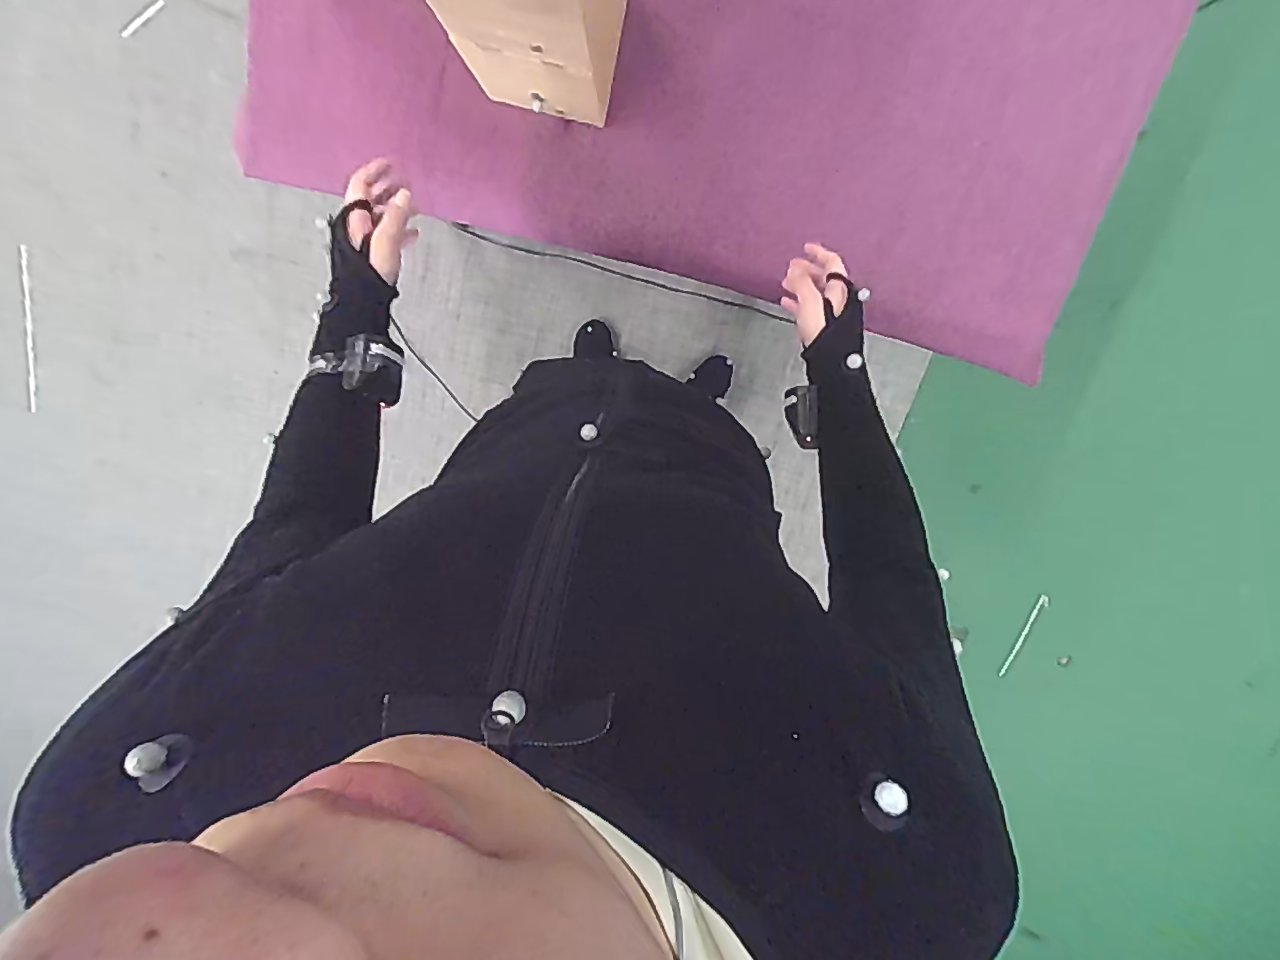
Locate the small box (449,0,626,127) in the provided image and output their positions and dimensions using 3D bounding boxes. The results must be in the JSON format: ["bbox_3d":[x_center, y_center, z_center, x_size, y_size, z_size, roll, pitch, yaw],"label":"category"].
[{"bbox_3d":[-0.112,-0.569,0.654,0.168,0.176,0.179,13,106,-3],"label":"small box"}]

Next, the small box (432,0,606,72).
[{"bbox_3d":[-0.113,-0.527,0.495,0.168,0.176,0.179,12,105,-3],"label":"small box"}]
